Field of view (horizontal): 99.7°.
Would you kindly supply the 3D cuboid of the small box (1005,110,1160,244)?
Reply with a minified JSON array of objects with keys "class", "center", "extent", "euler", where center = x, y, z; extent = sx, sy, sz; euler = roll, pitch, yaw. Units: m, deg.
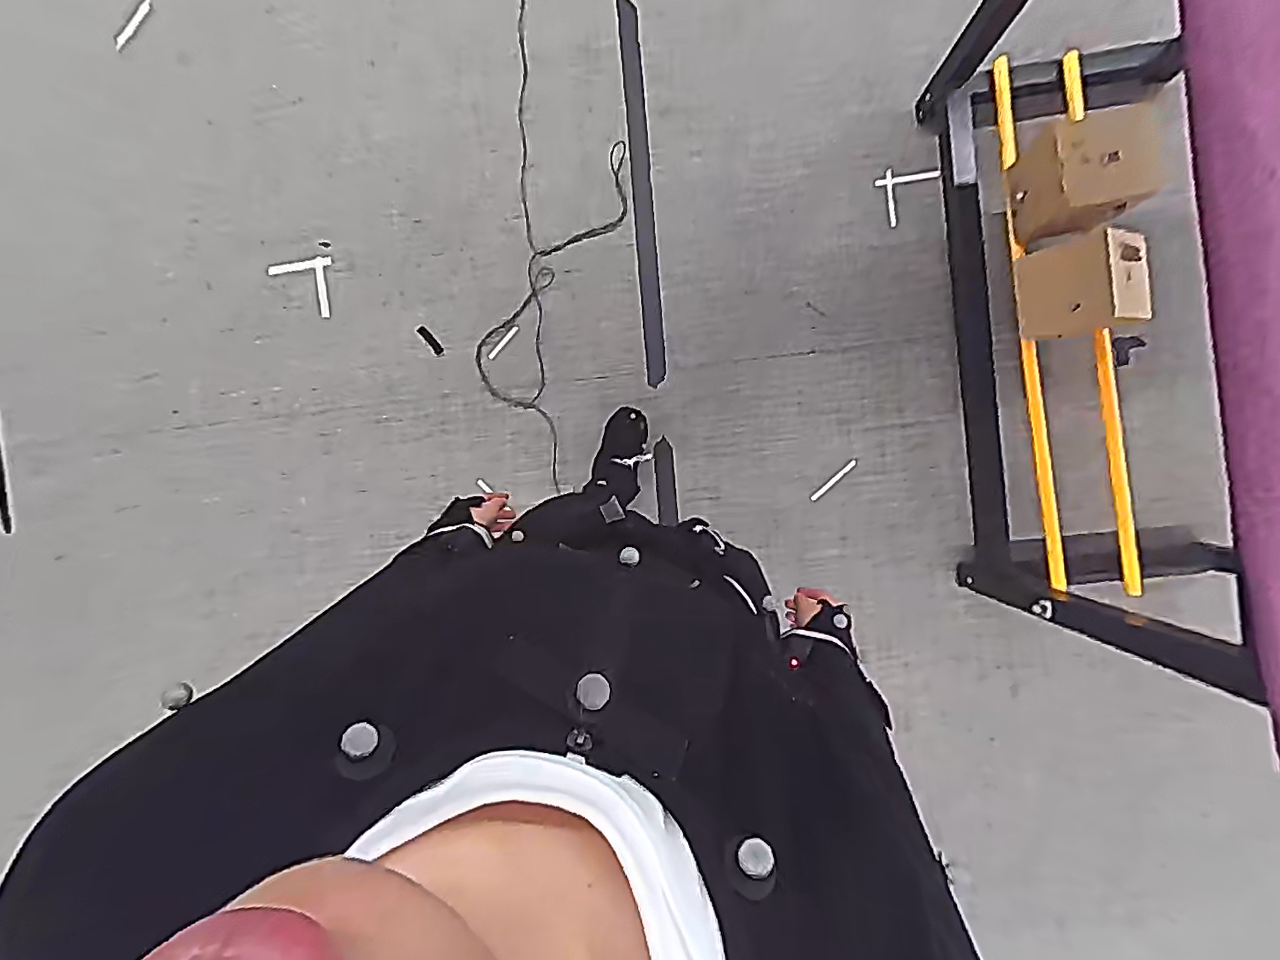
[{"class":"small box","center":[0.893,-0.608,1.106],"extent":[0.179,0.176,0.168],"euler":[-9,90,5]}]
